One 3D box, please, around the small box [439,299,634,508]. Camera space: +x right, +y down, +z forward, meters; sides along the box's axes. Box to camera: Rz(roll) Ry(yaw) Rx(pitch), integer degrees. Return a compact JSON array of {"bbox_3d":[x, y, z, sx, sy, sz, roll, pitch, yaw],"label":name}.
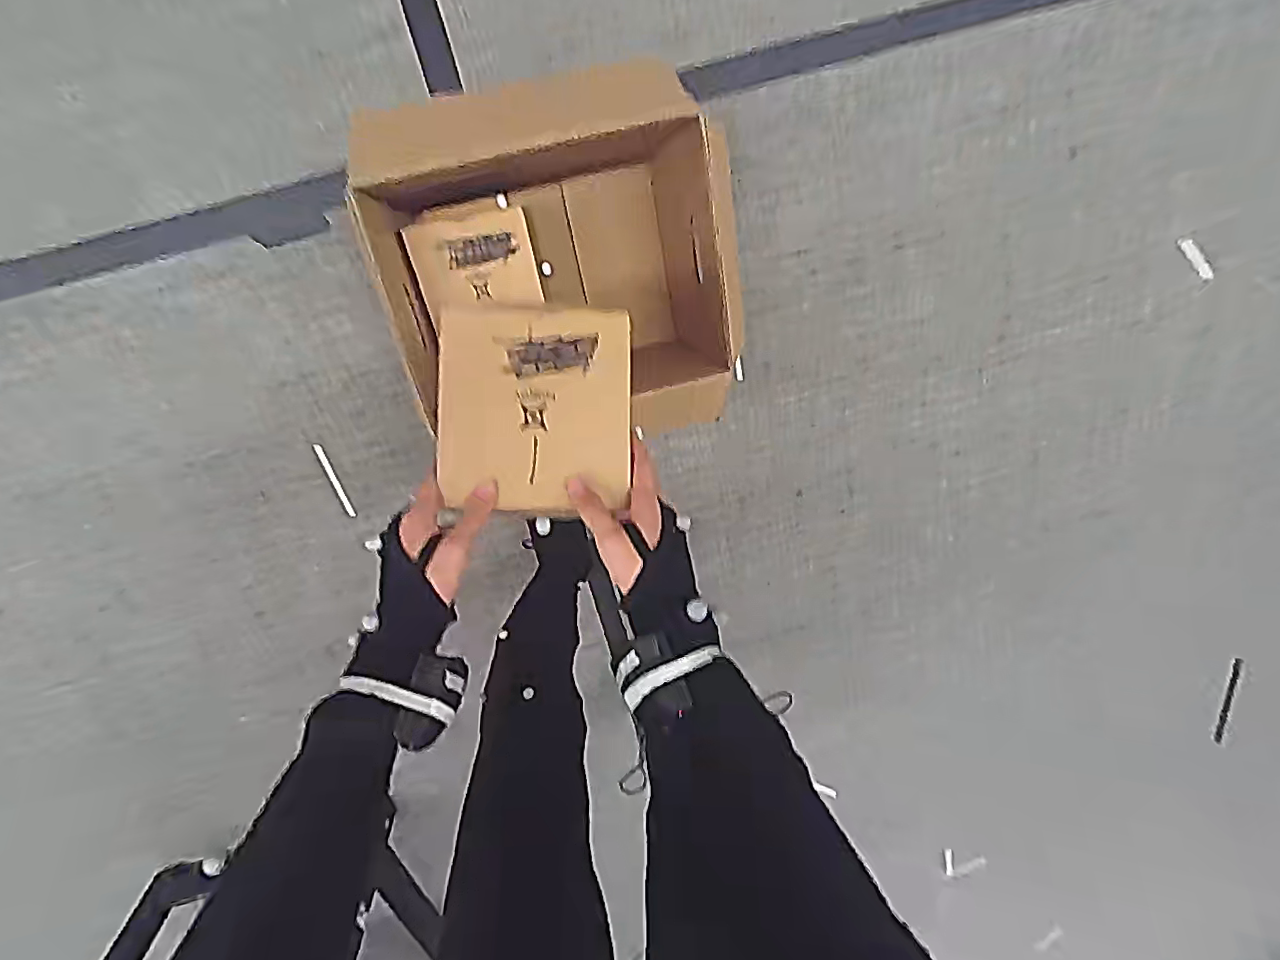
[{"bbox_3d":[-0.093,-0.064,0.548,0.168,0.176,0.179,0,85,-3],"label":"small box"}]
